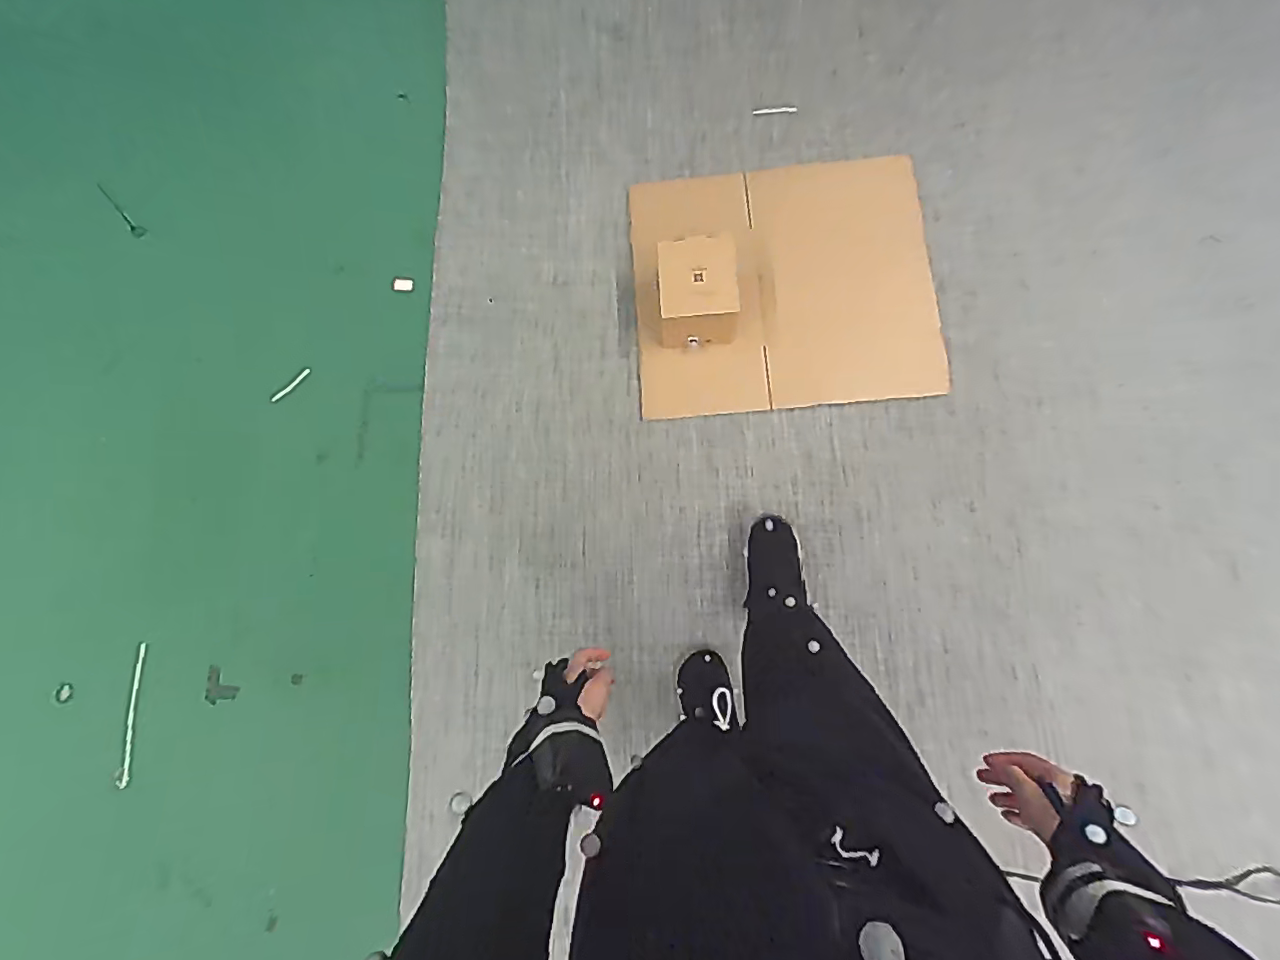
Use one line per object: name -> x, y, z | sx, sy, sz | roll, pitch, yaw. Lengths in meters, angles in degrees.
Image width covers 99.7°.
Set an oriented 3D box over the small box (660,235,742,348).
small box -> 0.131, -0.412, 1.201 | 0.168, 0.176, 0.179 | -4, 81, 5
